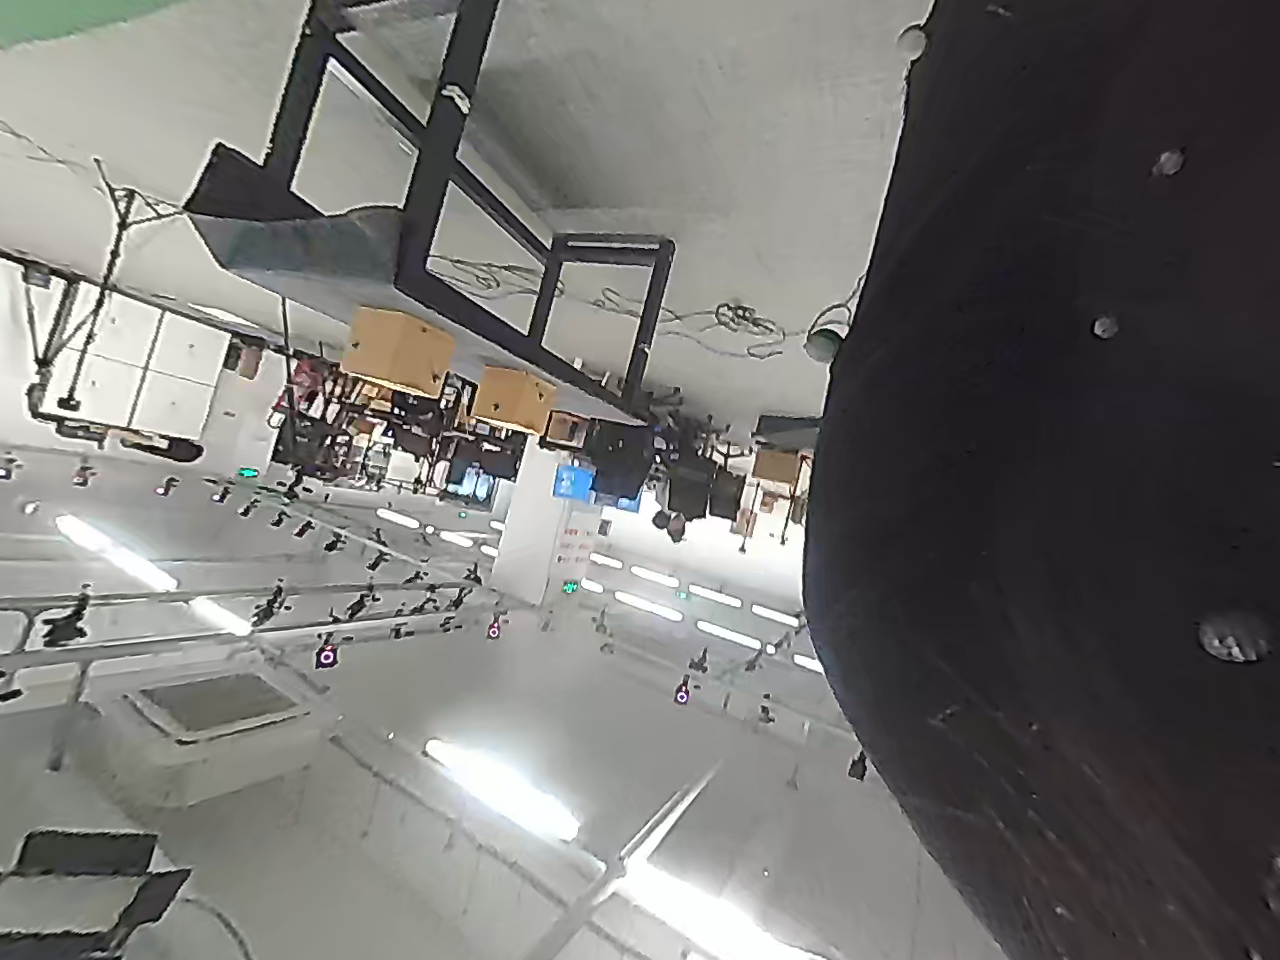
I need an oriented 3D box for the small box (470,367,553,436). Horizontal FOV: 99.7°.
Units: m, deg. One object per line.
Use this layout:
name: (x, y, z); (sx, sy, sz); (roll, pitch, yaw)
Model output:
small box: (-0.401, -0.250, 1.713); (0.179, 0.176, 0.168); (13, 177, 25)
